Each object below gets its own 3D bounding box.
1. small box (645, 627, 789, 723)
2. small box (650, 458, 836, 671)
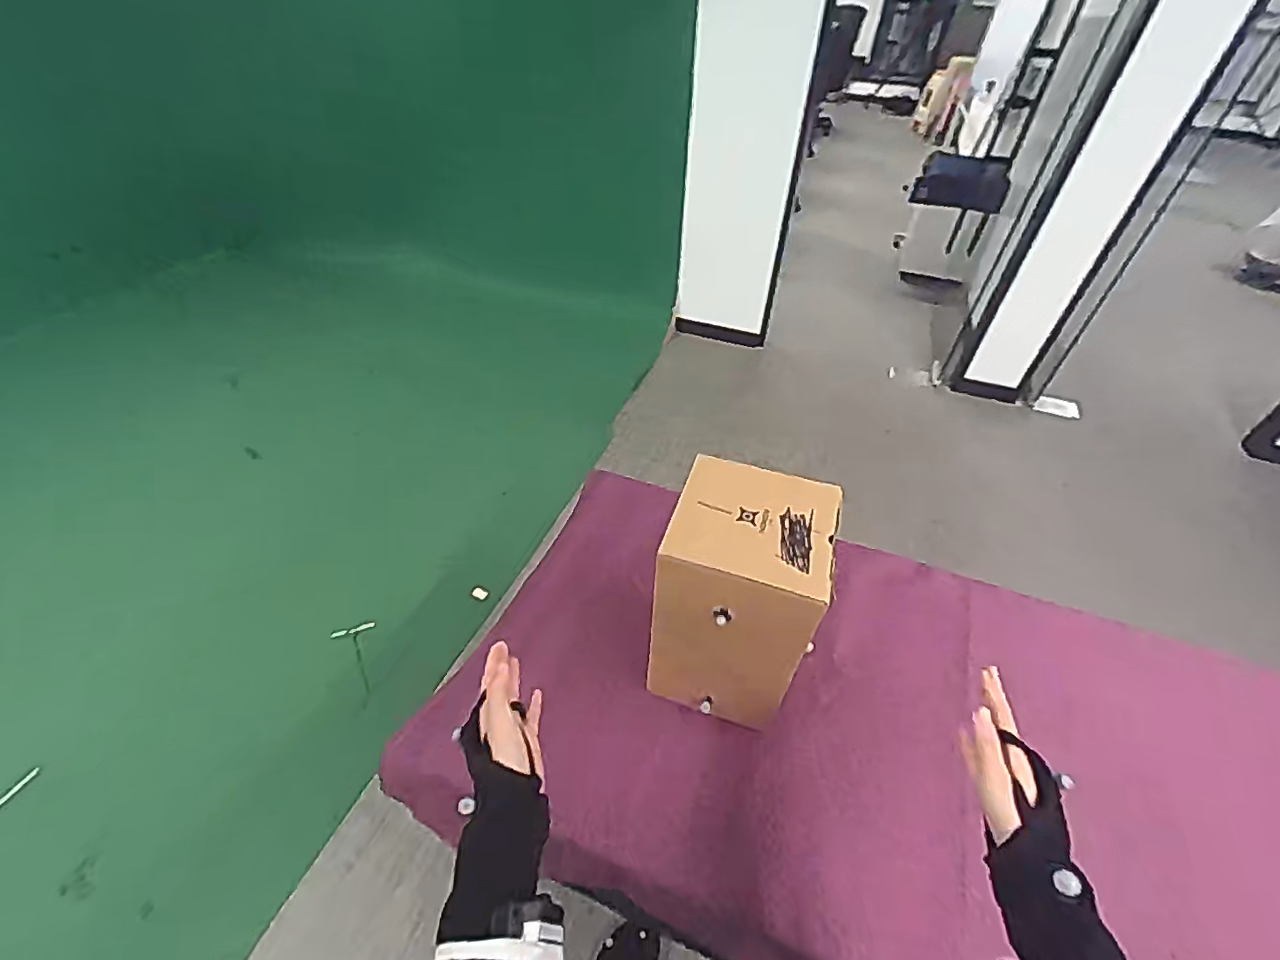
[{"bbox_3d":[0.114,0.218,0.766,0.179,0.176,0.168,15,47,12],"label":"small box"},{"bbox_3d":[0.118,0.103,0.648,0.179,0.176,0.168,14,47,13],"label":"small box"}]
